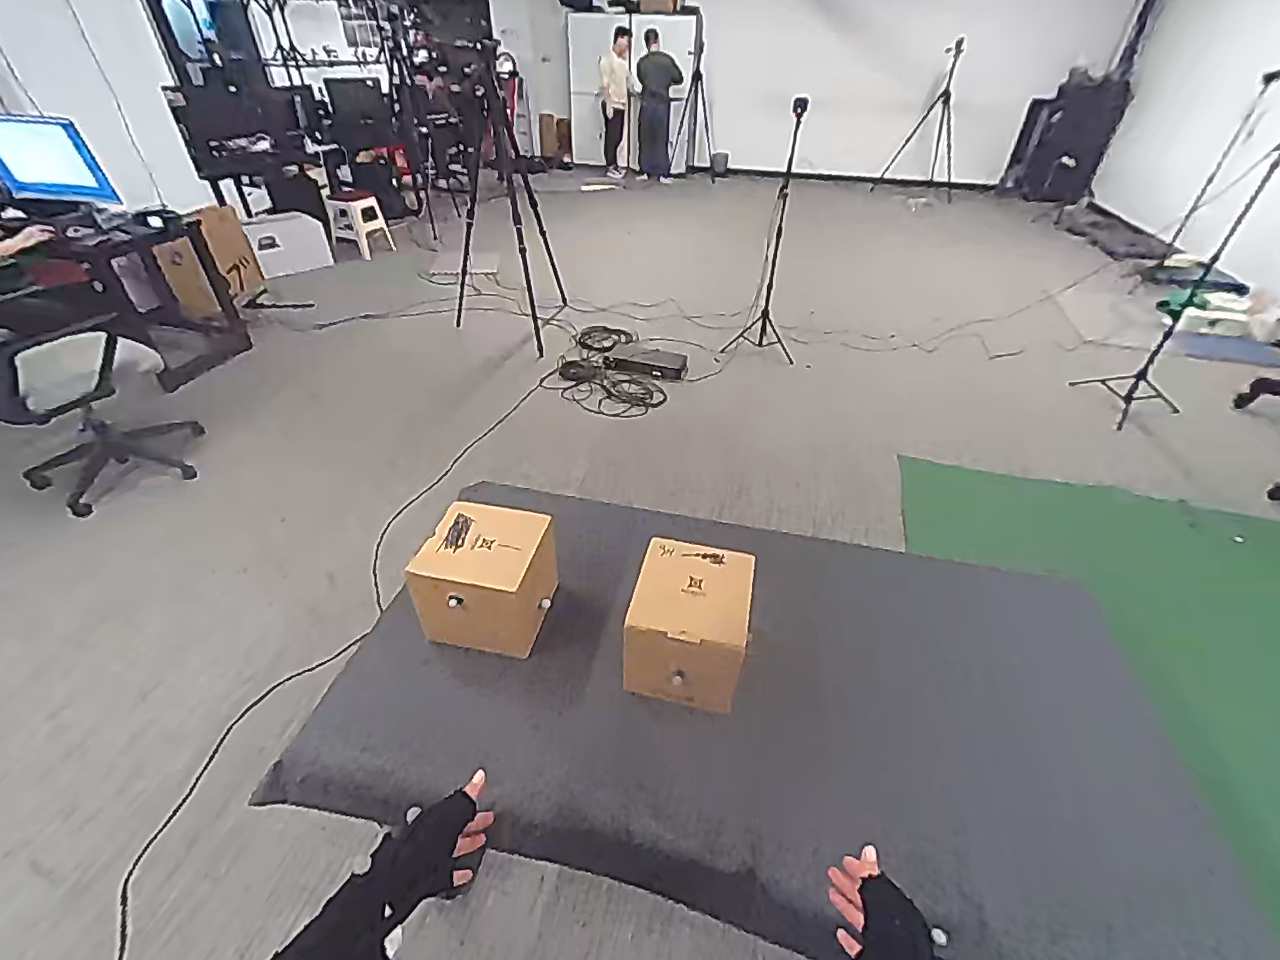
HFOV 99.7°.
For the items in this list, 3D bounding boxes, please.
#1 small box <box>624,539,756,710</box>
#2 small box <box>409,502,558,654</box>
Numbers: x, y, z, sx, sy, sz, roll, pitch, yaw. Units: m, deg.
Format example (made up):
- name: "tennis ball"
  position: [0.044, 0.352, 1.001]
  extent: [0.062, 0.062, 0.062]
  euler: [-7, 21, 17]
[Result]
- name: "small box"
  position: [0.078, 0.221, 0.828]
  extent: [0.168, 0.176, 0.179]
  euler: [10, 39, 10]
- name: "small box"
  position: [-0.243, 0.161, 0.889]
  extent: [0.179, 0.176, 0.168]
  euler: [10, 39, 7]
